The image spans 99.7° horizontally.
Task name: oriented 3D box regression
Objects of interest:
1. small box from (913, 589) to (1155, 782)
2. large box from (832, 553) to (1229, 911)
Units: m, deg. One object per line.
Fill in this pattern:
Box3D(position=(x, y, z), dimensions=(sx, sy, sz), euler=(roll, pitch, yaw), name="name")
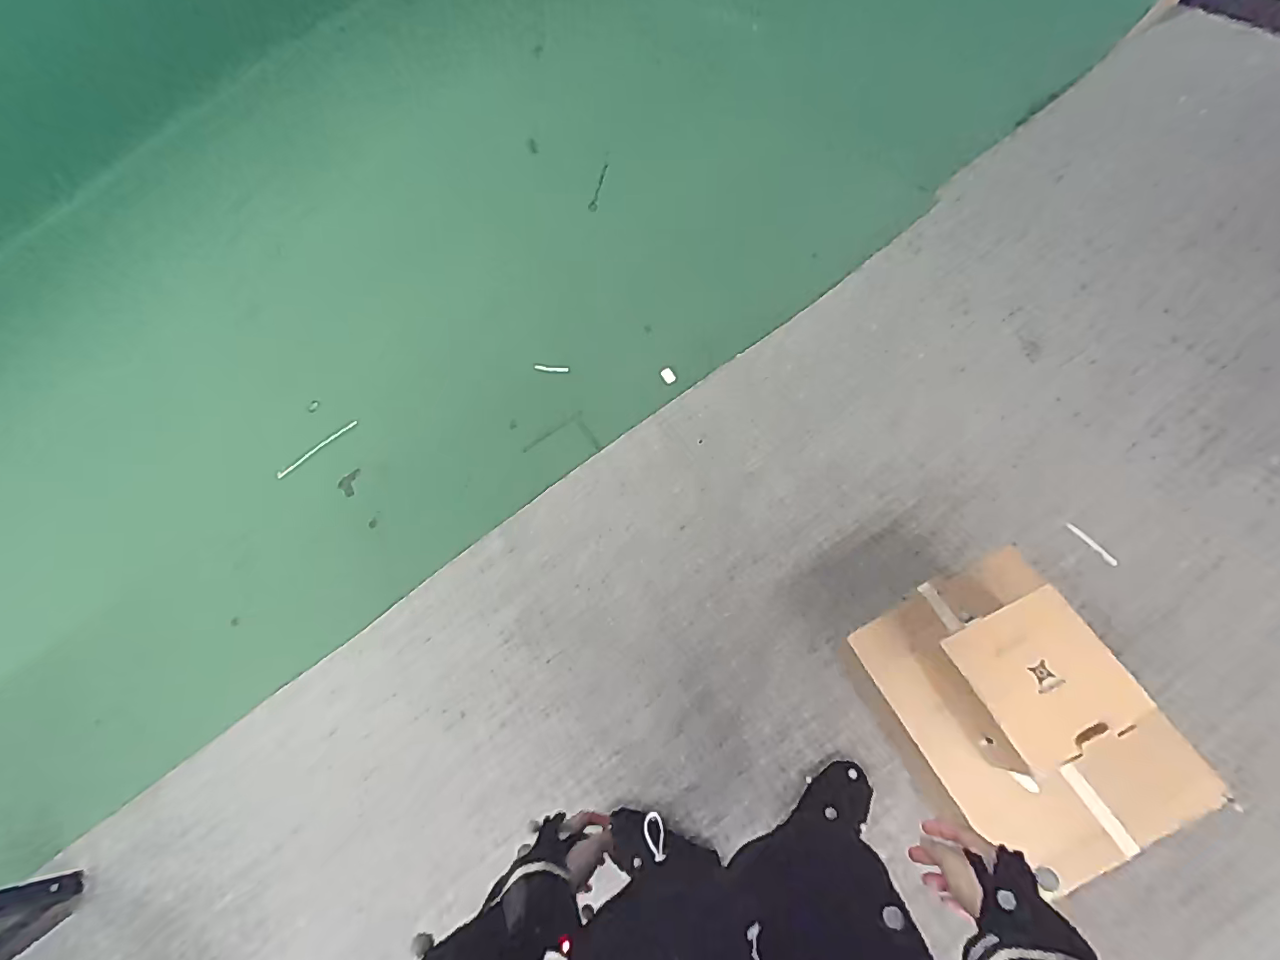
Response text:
Box3D(position=(0.510, 0.277, 0.735), dimensions=(0.168, 0.176, 0.179), euler=(-29, 62, 0), name="small box")
Box3D(position=(0.592, 0.399, 0.933), dimensions=(0.320, 0.320, 0.408), euler=(-31, 64, 2), name="large box")
